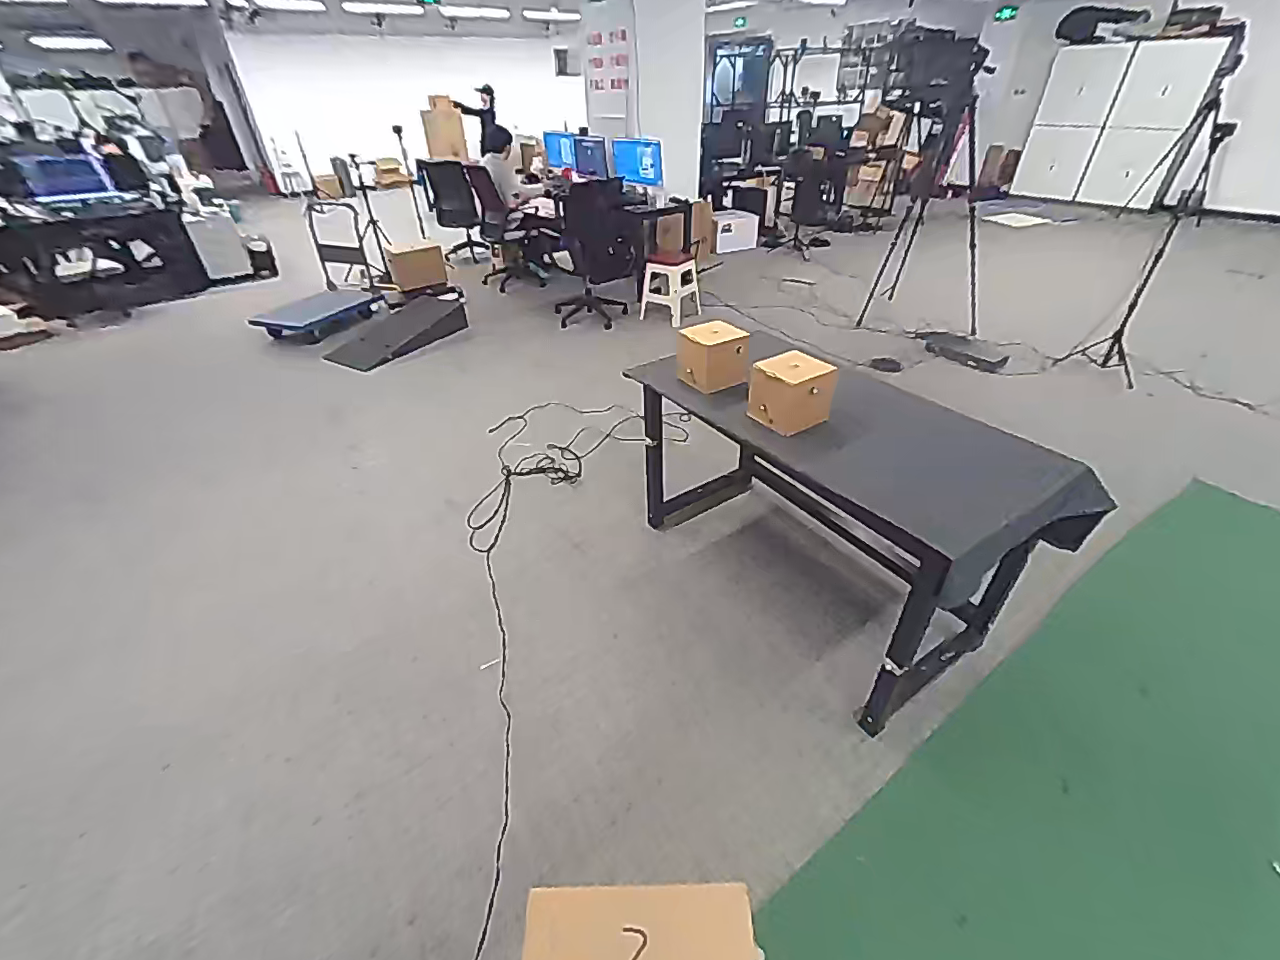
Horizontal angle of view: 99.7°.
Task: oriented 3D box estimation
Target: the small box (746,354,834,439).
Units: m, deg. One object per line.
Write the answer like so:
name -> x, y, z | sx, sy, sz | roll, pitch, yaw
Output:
small box -> 0.430, -0.245, 1.580 | 0.179, 0.176, 0.168 | -21, 41, -26

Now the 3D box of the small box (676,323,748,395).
small box -> 0.233, -0.402, 1.795 | 0.179, 0.176, 0.168 | -20, 40, -26
